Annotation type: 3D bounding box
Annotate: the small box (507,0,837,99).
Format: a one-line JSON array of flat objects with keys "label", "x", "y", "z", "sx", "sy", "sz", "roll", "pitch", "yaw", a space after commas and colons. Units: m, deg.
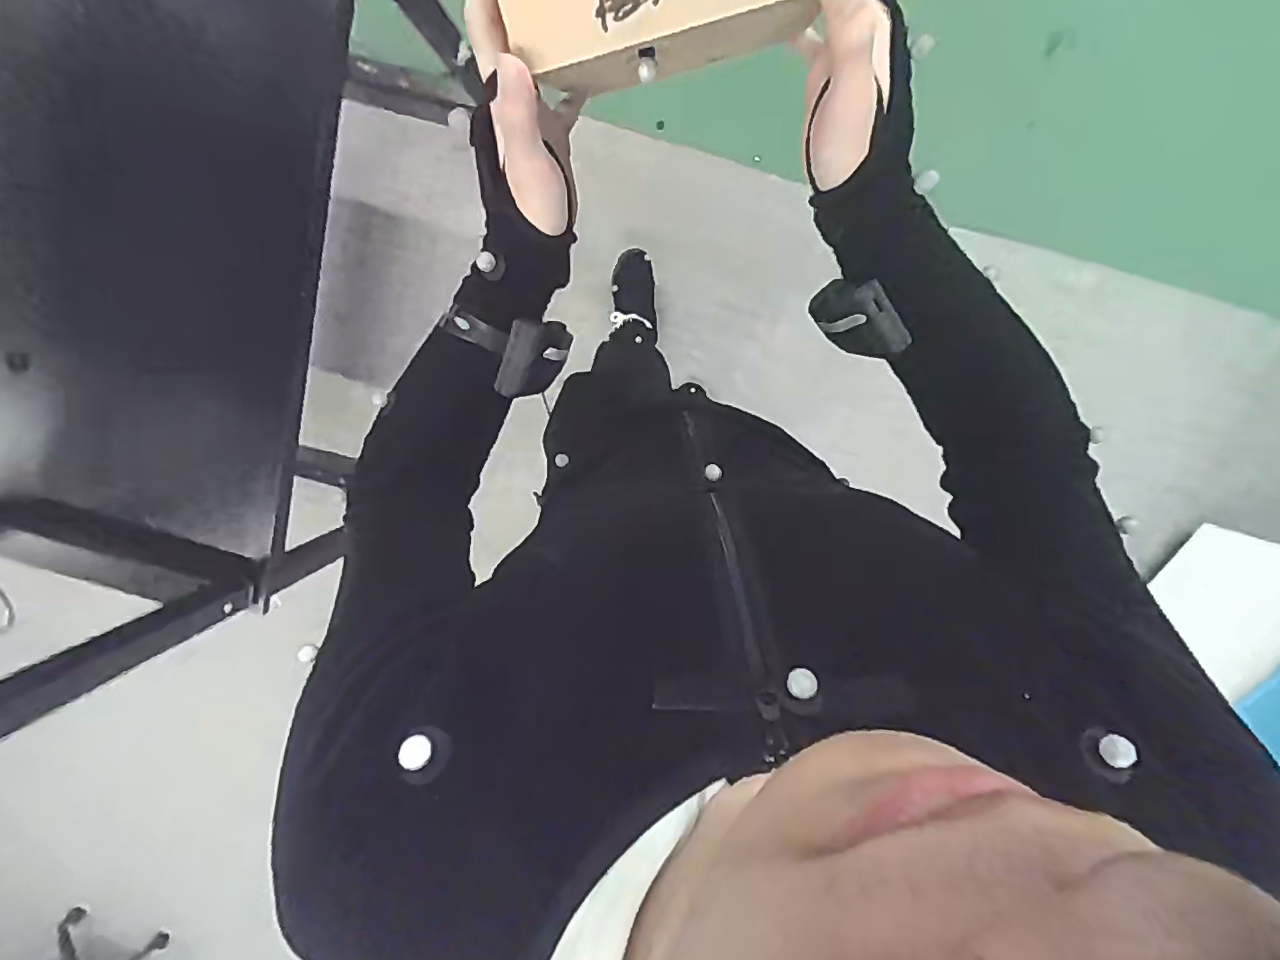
[{"label": "small box", "x": 0.011, "y": -0.334, "z": 0.293, "sx": 0.168, "sy": 0.176, "sz": 0.179, "roll": -7, "pitch": 120, "yaw": 12}]
